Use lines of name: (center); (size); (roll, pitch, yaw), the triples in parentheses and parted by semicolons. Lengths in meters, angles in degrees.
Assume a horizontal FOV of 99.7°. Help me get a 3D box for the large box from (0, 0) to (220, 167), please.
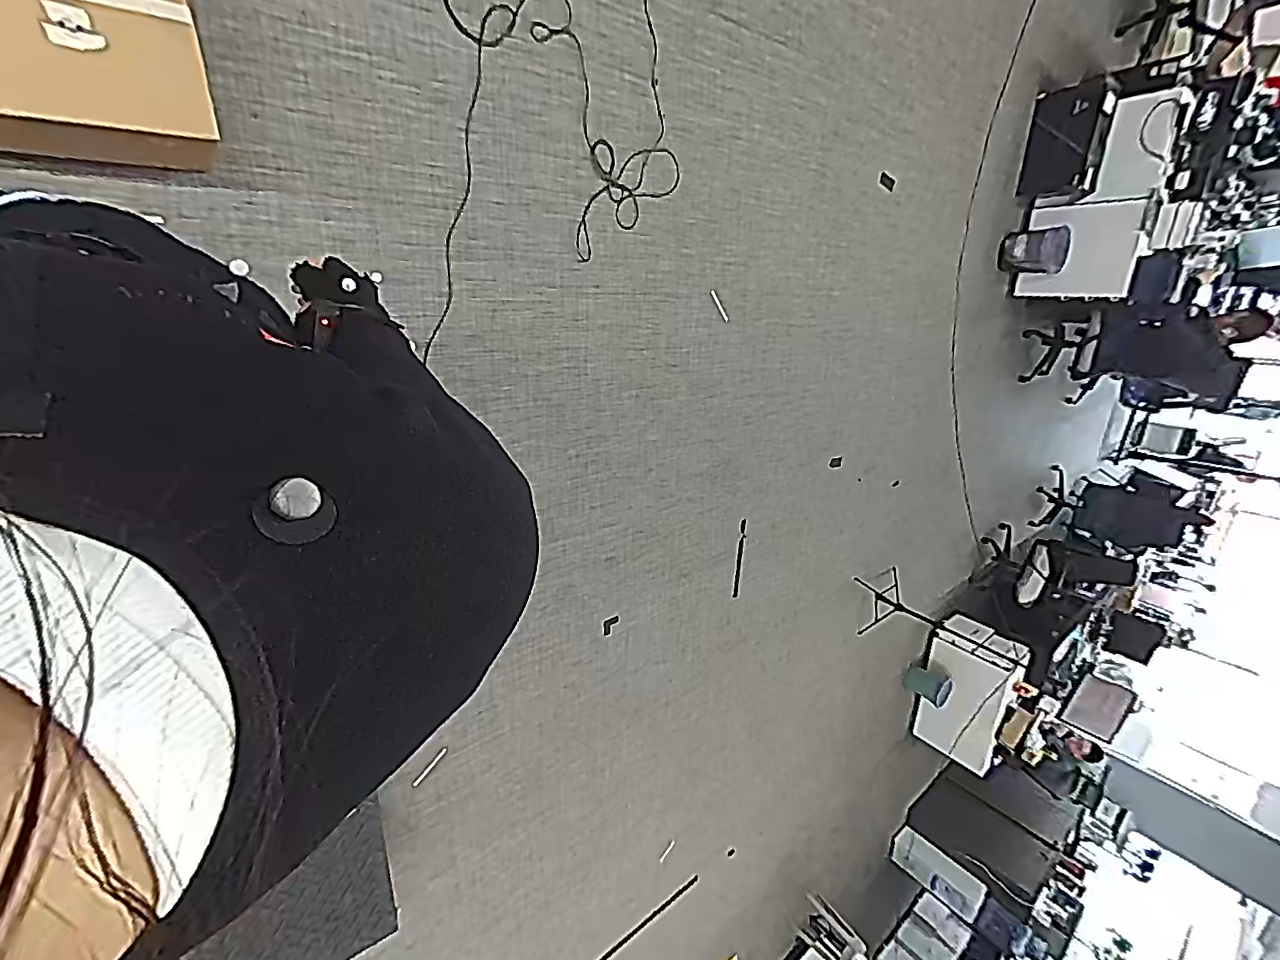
large box: (-0.904, -0.671, 0.784); (0.408, 0.320, 0.320); (-16, 116, -36)

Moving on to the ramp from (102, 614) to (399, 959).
ramp: (-0.945, 0.880, 1.390); (0.509, 0.206, 0.991); (-12, 112, -35)
